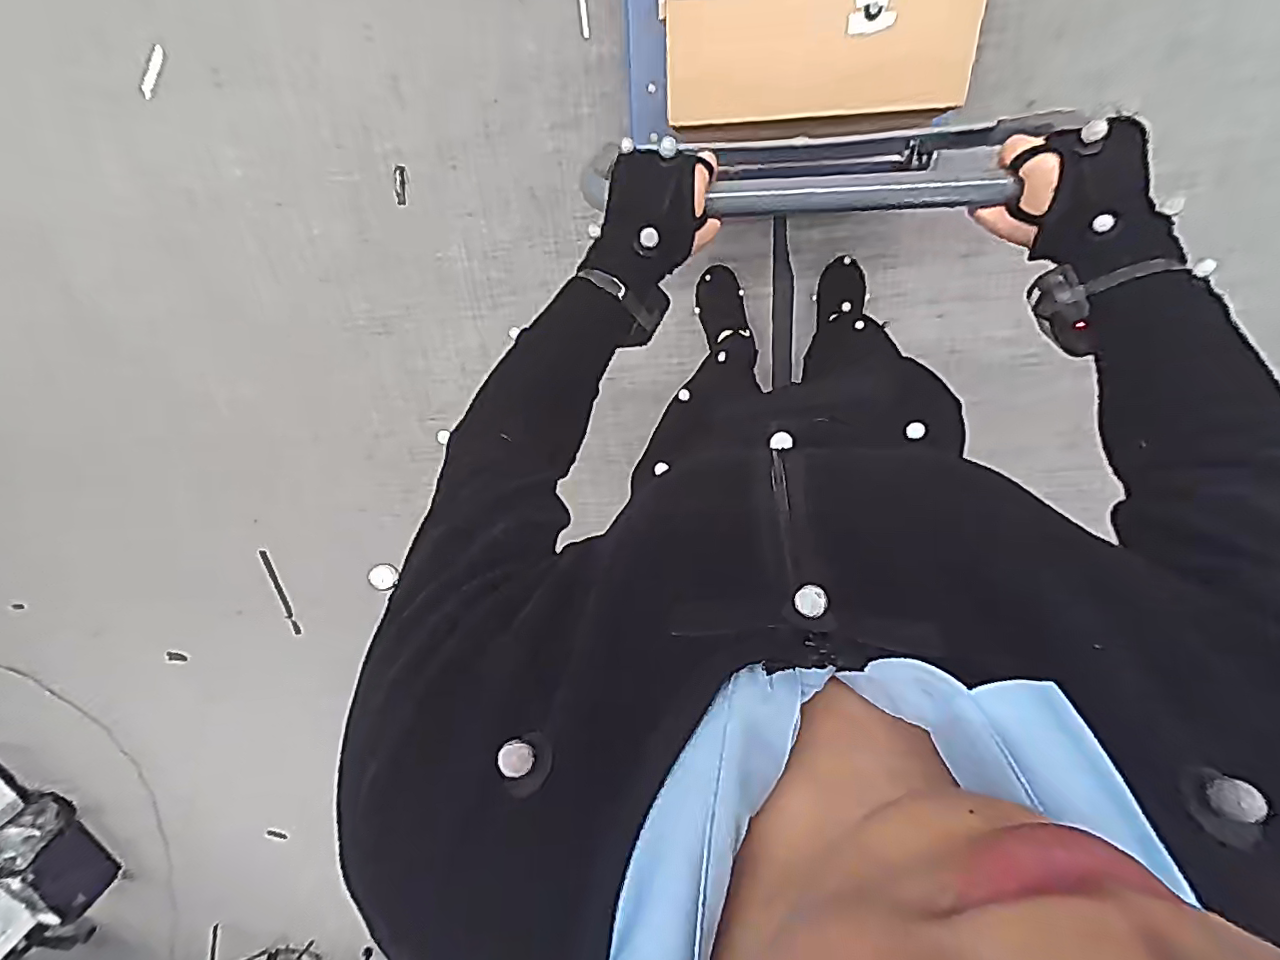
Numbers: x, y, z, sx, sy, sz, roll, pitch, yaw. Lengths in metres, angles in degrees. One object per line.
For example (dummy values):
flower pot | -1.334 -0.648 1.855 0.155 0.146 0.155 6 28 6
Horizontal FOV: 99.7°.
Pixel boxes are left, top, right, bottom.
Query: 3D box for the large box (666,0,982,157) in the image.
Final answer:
large box | 0.249 -0.700 0.822 0.408 0.320 0.320 1 117 8
